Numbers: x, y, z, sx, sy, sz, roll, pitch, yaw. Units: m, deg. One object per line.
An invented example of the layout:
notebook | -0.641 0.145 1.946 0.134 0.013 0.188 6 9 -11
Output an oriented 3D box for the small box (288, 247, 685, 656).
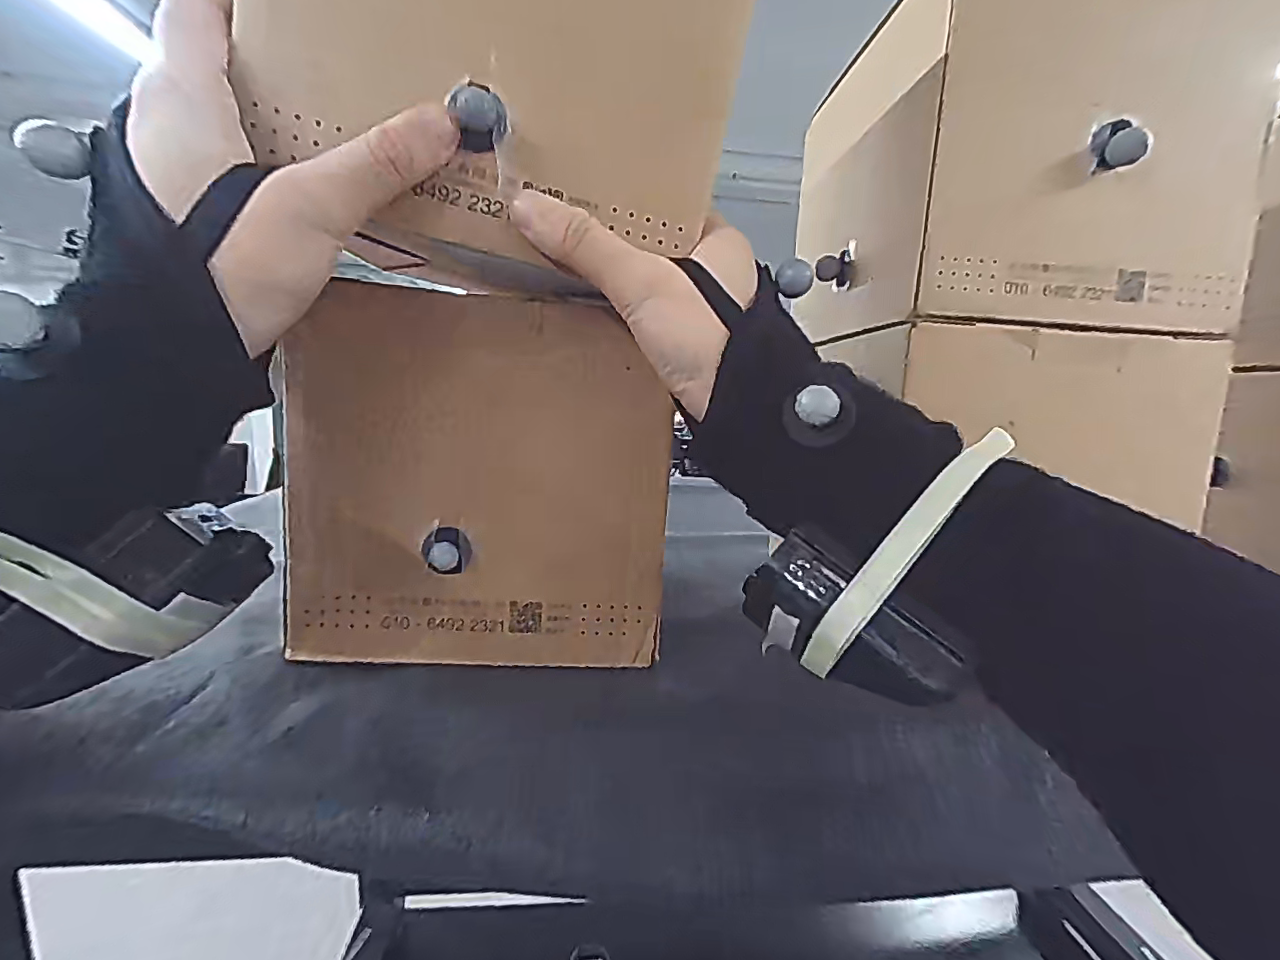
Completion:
small box | -0.076 -0.016 0.313 0.168 0.176 0.179 3 8 -7

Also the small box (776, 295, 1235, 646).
small box | 0.195 -0.010 0.346 0.168 0.176 0.179 1 8 -5

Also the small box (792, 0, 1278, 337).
small box | 0.204 -0.172 0.325 0.168 0.176 0.179 3 8 -6
